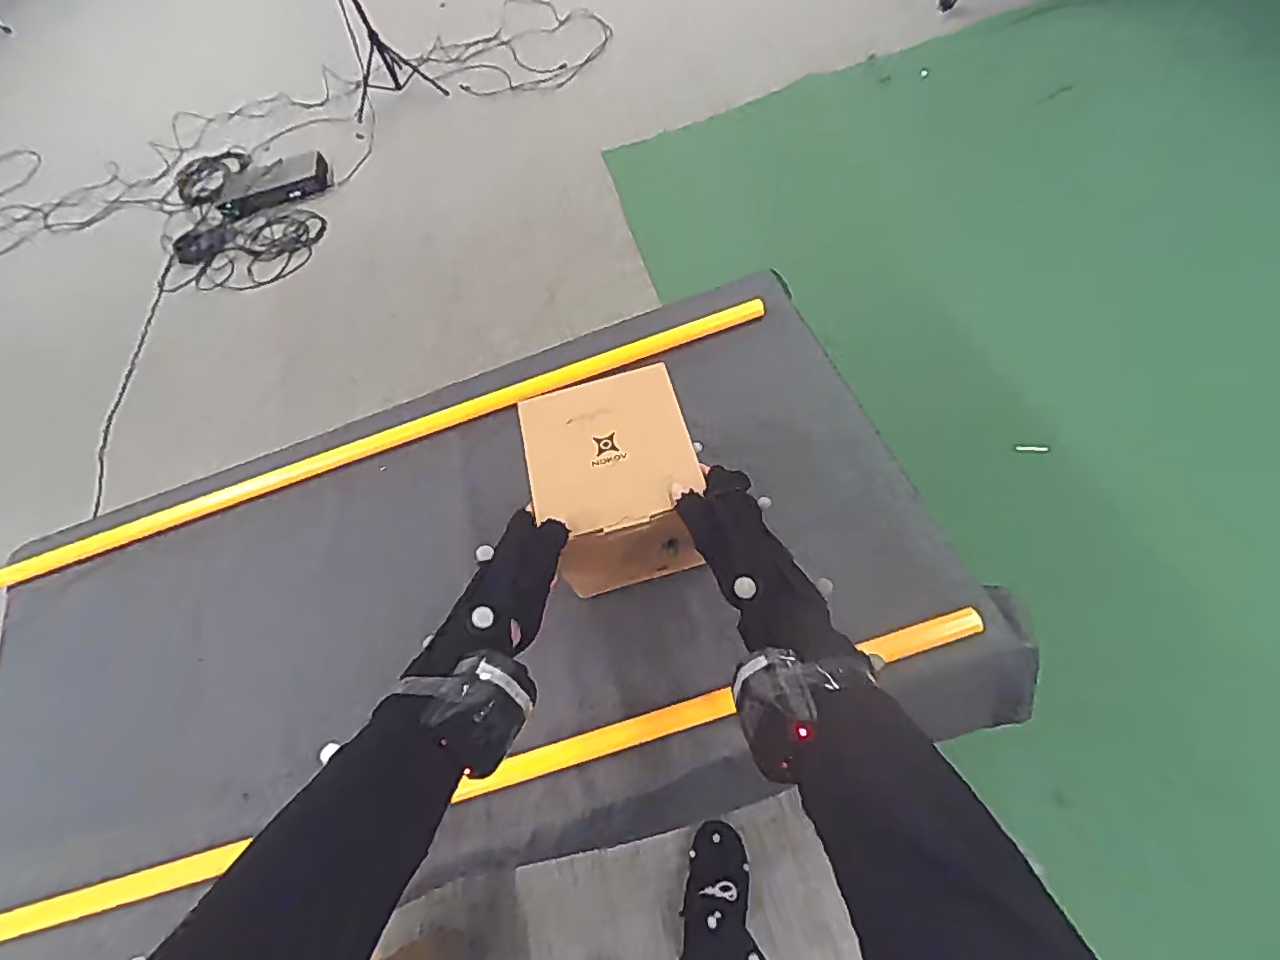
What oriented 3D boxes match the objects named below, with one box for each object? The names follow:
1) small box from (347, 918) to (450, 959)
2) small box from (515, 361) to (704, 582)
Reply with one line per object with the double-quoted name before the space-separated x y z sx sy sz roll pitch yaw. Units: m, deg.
"small box" -0.474 0.986 1.037 0.168 0.176 0.179 -27 64 -3
"small box" -0.028 0.002 0.608 0.168 0.176 0.179 -15 60 -1
